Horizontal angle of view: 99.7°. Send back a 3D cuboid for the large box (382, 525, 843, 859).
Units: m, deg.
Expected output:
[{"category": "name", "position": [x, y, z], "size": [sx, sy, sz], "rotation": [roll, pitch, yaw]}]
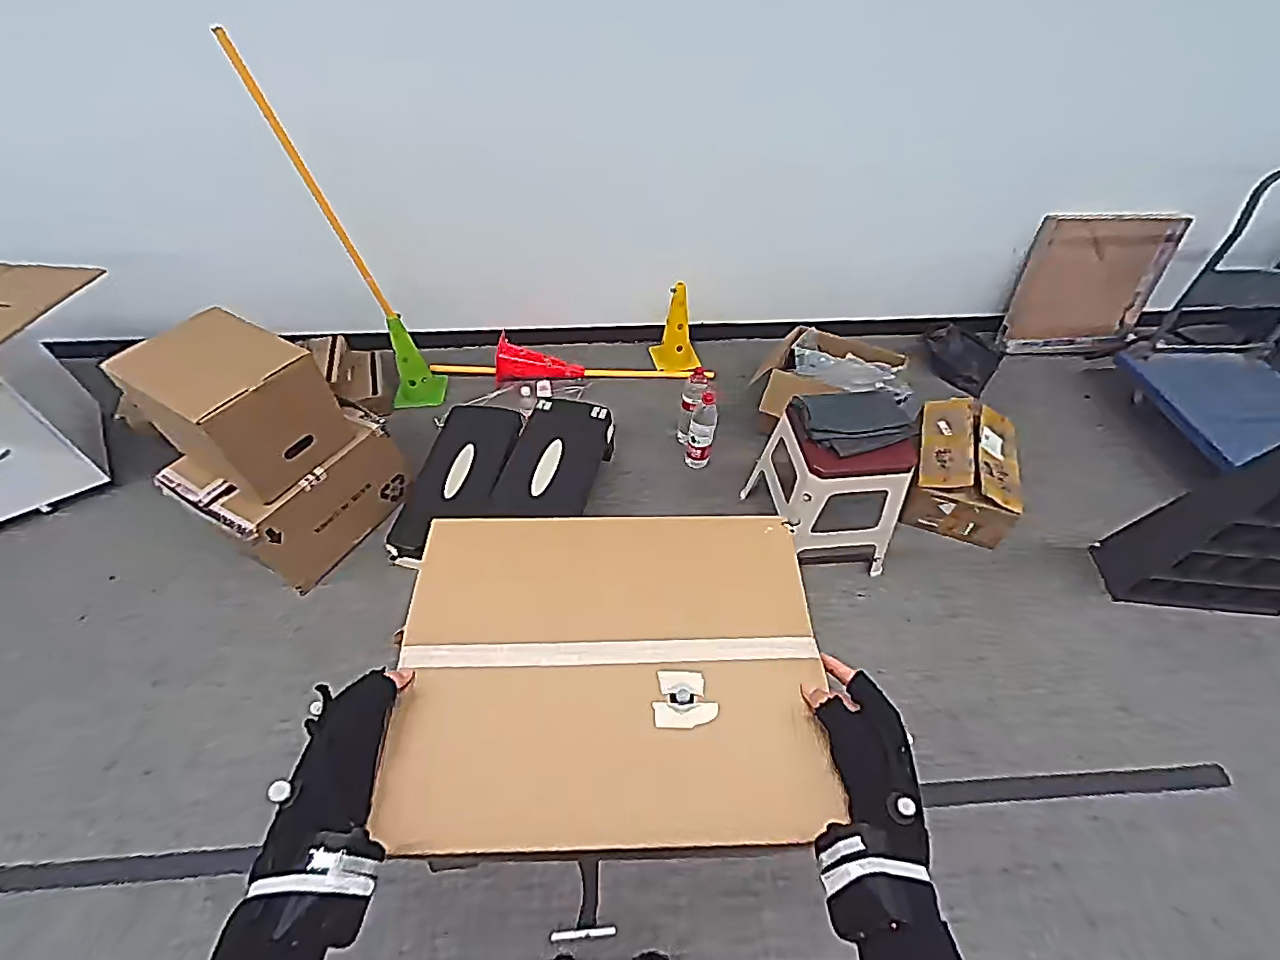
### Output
[{"category": "large box", "position": [-0.031, 0.267, 0.665], "size": [0.408, 0.320, 0.320], "rotation": [0, 55, -2]}]
